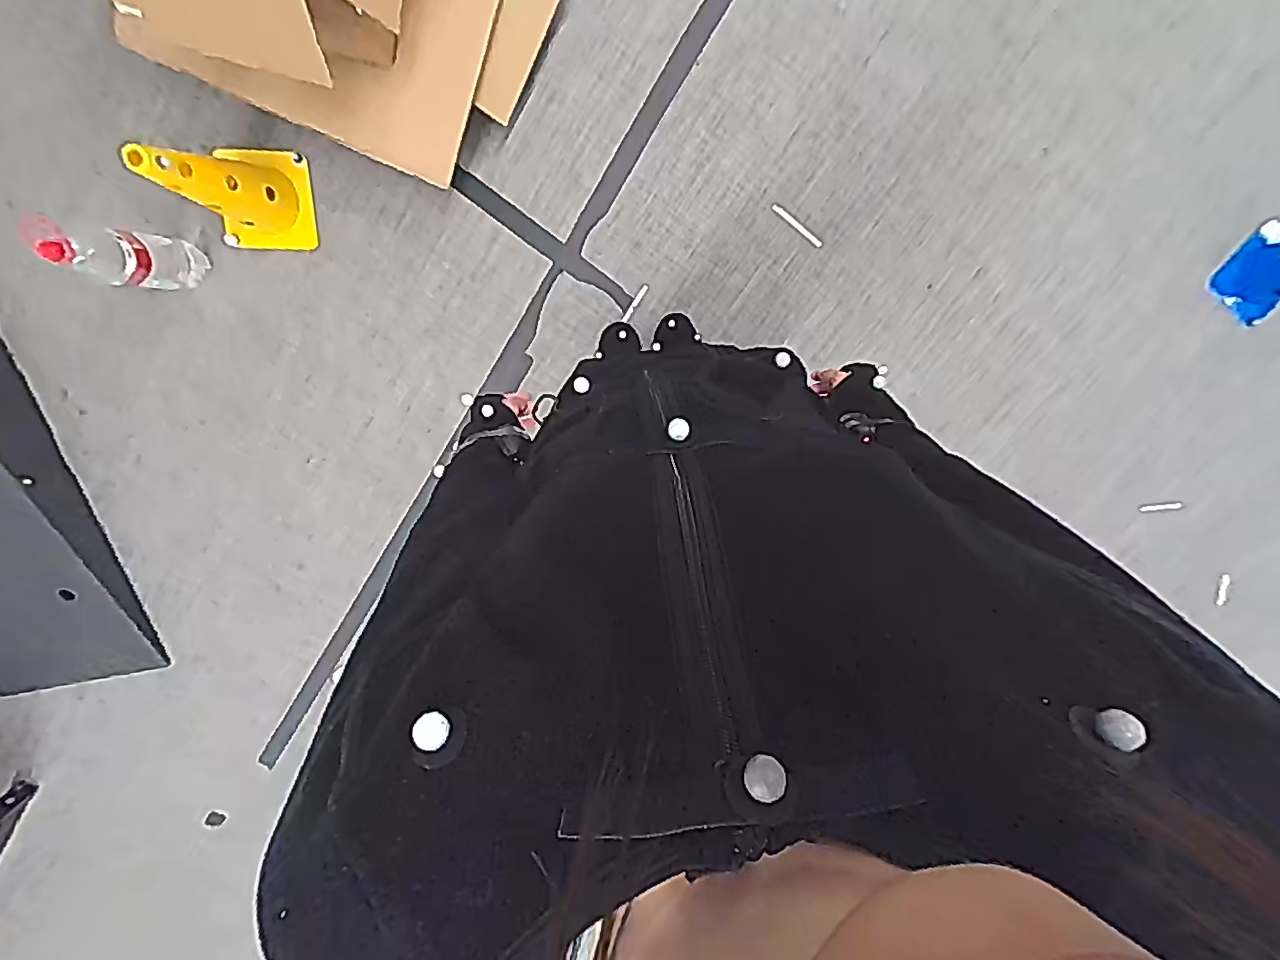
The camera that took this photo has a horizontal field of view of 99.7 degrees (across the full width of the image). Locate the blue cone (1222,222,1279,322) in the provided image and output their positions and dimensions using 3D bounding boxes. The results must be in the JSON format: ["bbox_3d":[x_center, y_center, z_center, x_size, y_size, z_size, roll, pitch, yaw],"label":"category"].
[{"bbox_3d":[1.602,-0.478,1.219,0.192,0.380,0.193,37,102,-14],"label":"blue cone"}]
